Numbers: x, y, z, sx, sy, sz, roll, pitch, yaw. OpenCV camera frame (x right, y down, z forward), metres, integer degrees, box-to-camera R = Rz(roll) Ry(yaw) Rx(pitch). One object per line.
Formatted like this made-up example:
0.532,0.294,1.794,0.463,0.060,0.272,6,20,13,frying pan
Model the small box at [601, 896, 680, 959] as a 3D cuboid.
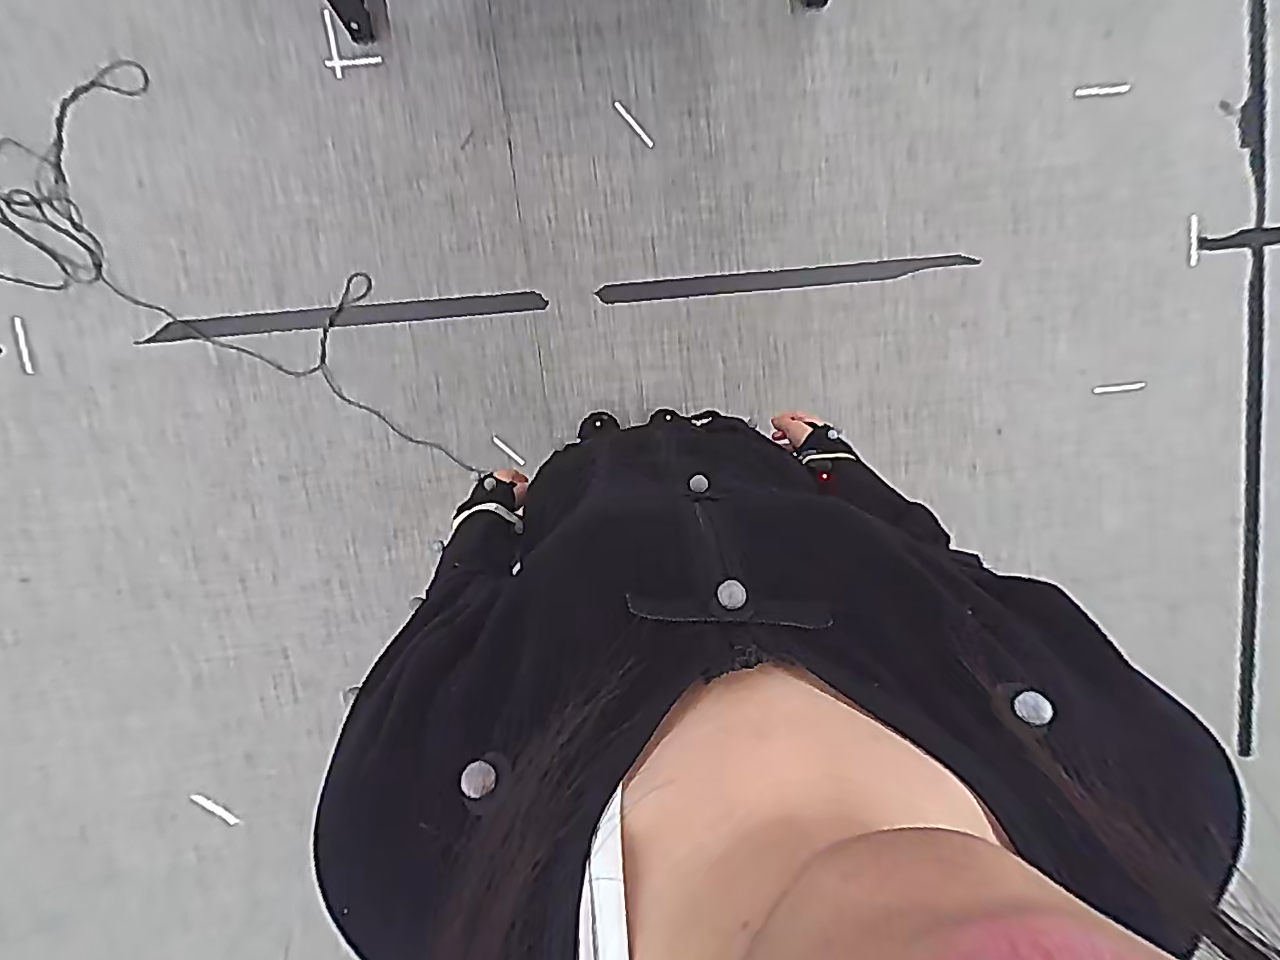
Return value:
0.004,1.104,1.242,0.179,0.176,0.168,-8,95,-2,small box
